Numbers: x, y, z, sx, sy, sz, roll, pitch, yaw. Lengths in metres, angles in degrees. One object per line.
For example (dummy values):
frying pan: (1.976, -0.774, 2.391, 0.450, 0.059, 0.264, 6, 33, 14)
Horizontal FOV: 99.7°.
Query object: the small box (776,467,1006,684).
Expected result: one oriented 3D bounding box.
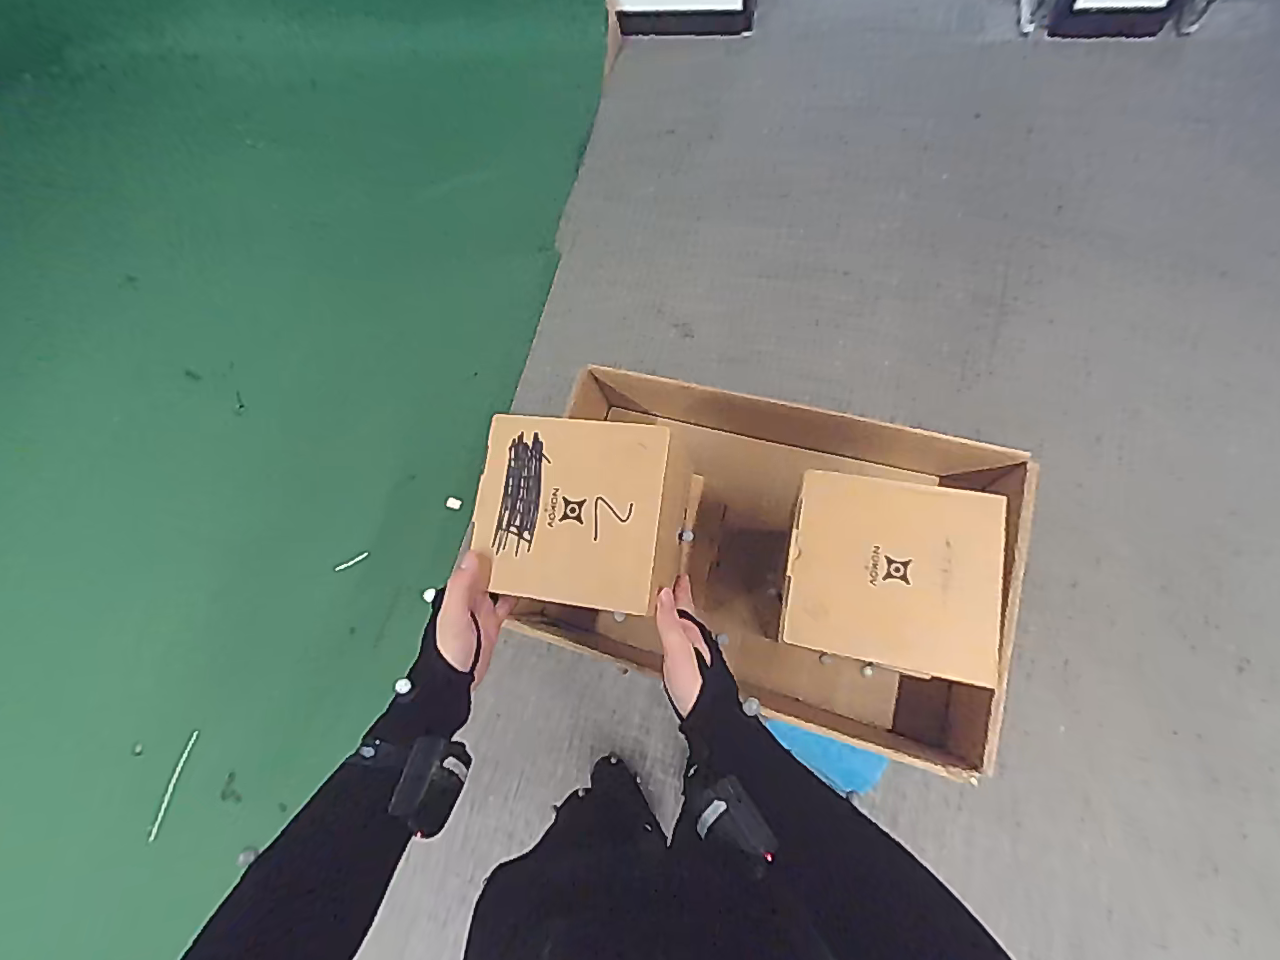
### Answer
small box: (0.239, 0.098, 0.553, 0.179, 0.176, 0.168, 9, 77, 15)
